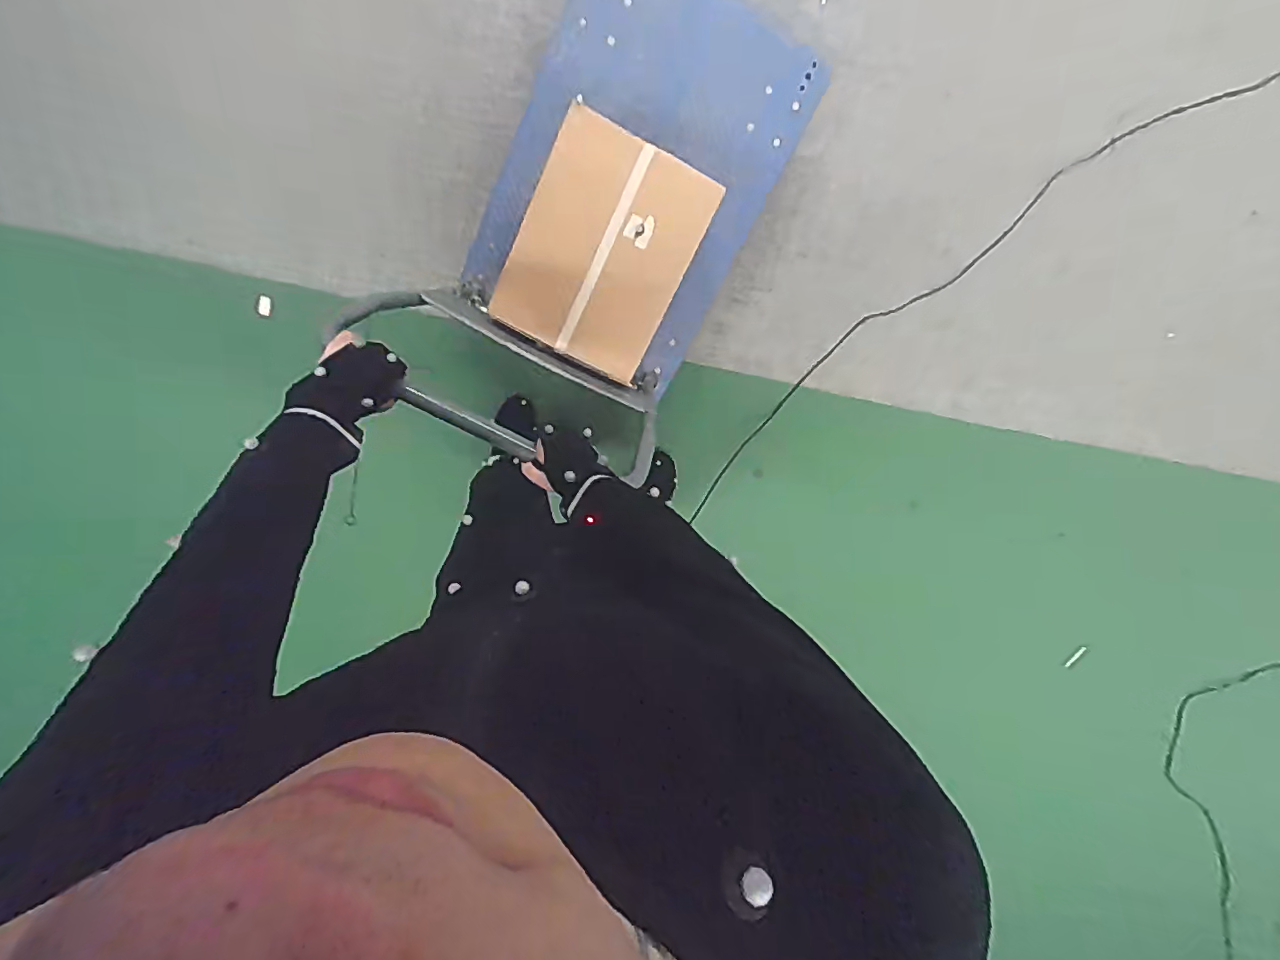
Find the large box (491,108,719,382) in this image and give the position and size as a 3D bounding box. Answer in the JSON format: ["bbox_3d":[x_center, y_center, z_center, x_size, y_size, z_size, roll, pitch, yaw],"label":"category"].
[{"bbox_3d":[-0.074,-0.469,1.172,0.320,0.320,0.408,26,103,-8],"label":"large box"}]
